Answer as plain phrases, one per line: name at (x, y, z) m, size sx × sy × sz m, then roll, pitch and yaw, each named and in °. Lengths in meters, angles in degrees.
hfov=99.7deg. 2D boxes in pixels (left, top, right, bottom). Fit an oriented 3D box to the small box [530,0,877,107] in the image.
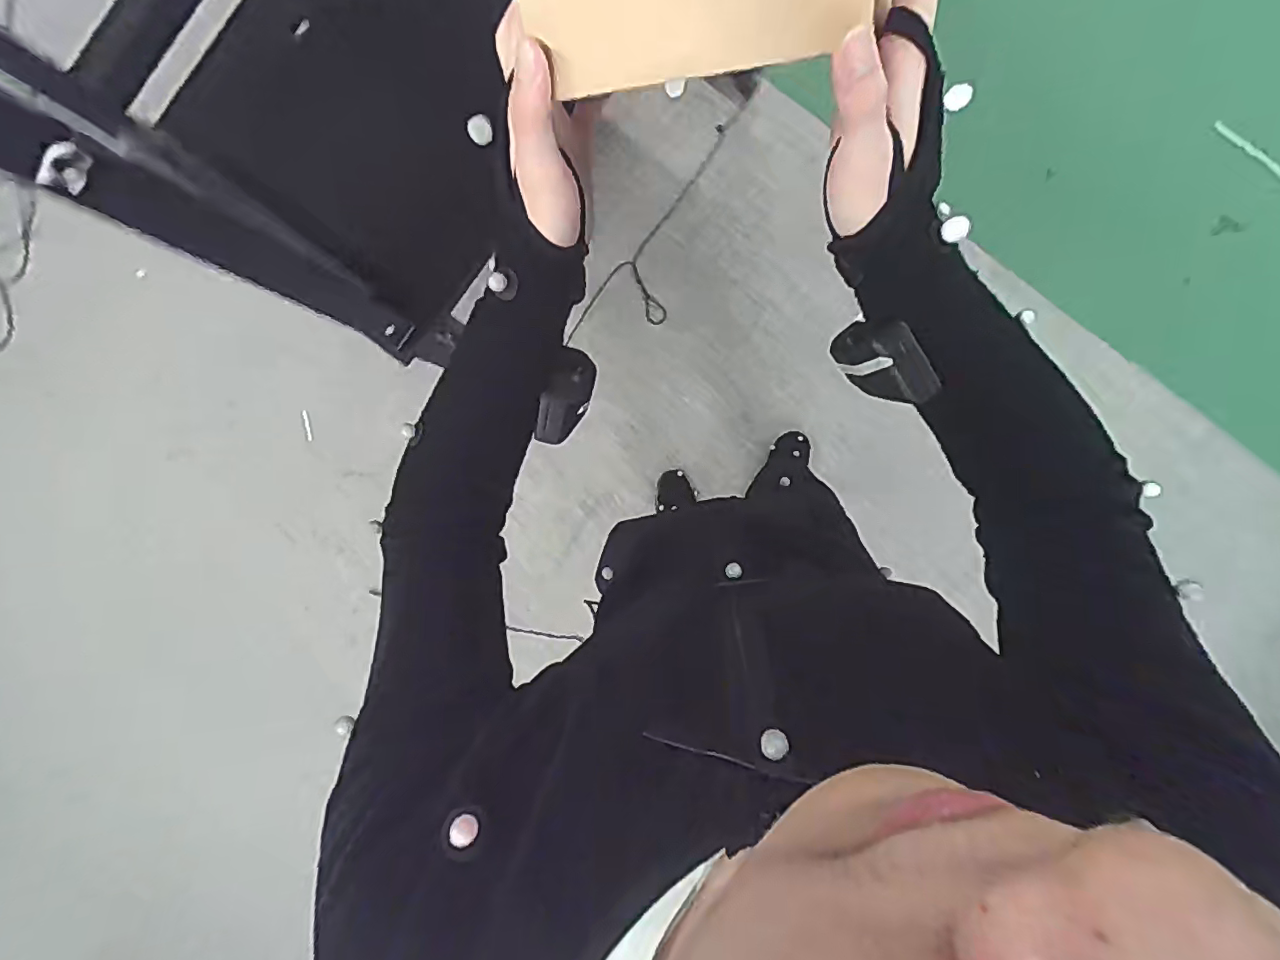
small box at (0.037, -0.317, 0.274) m, size 0.168 × 0.176 × 0.179 m, roll 2°, pitch 132°, yaw 15°
